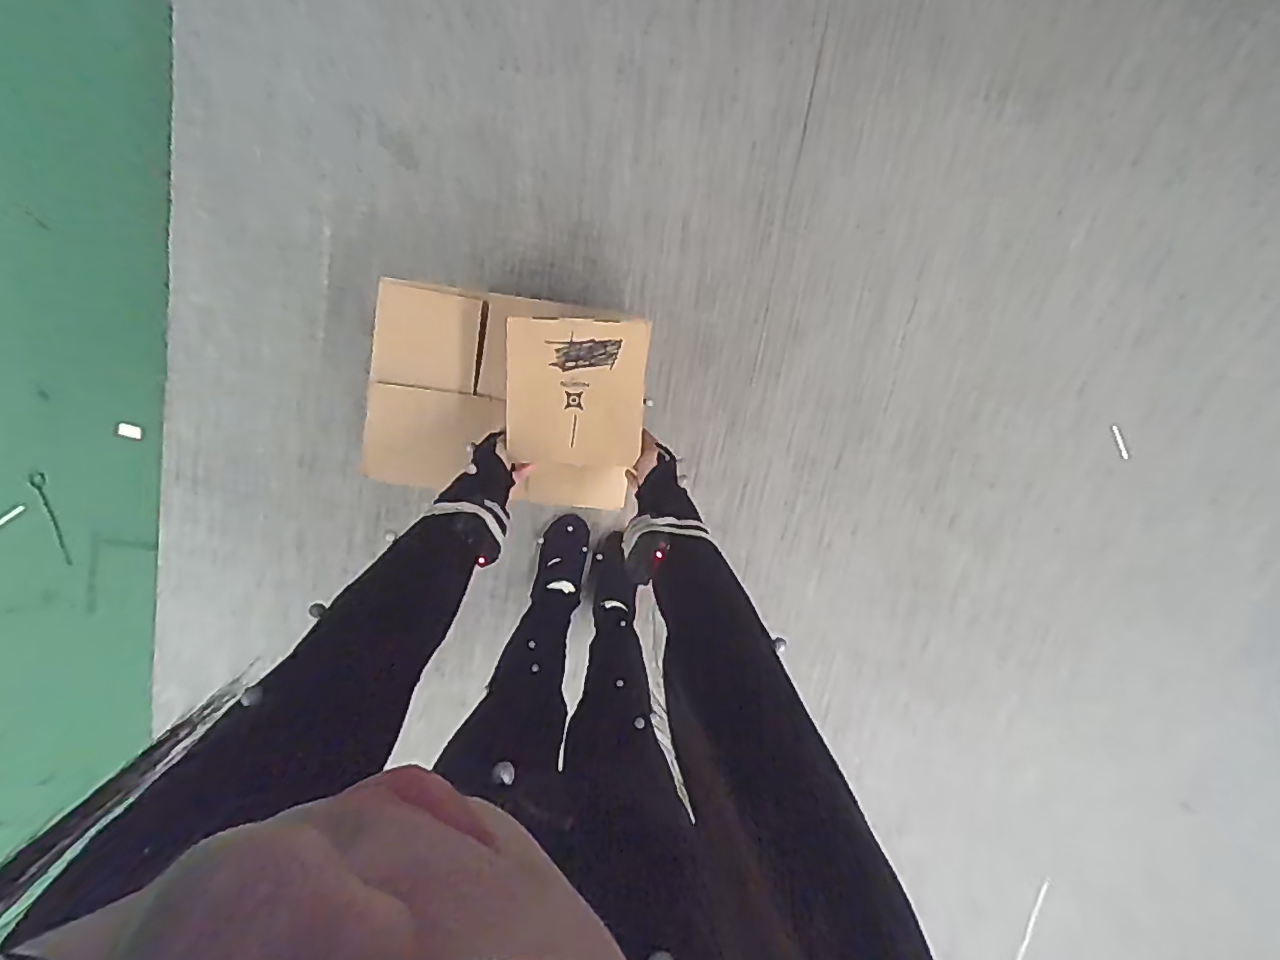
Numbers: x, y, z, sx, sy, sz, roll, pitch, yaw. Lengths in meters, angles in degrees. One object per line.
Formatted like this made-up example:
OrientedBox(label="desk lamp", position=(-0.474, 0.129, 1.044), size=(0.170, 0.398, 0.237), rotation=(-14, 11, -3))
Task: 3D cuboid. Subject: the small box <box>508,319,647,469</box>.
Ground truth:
OrientedBox(label="small box", position=(-0.077, -0.116, 0.734), size=(0.168, 0.176, 0.179), rotation=(2, 100, 1))
